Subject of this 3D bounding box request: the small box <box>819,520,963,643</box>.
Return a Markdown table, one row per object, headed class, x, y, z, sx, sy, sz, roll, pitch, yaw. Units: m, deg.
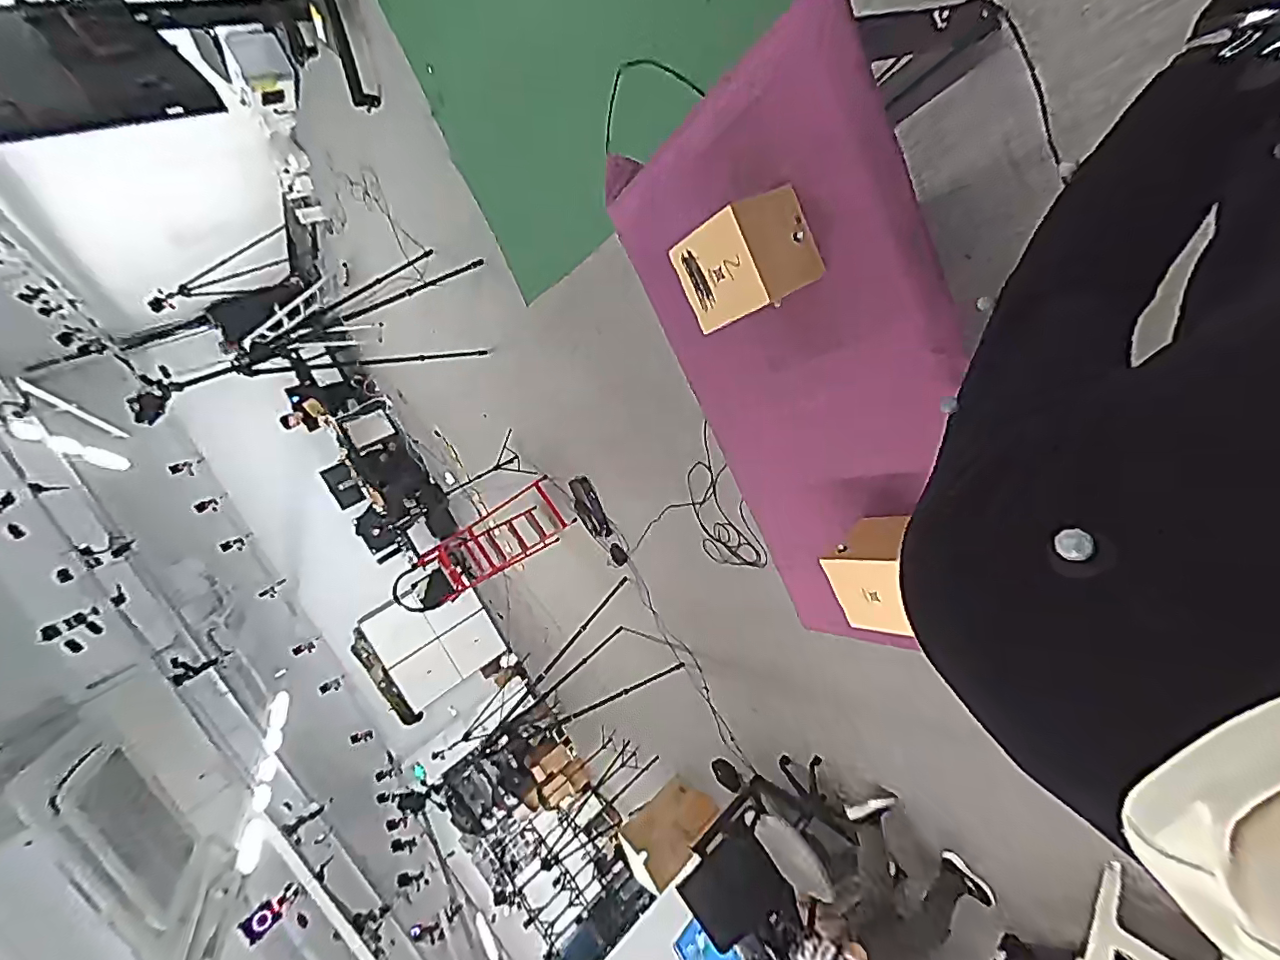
| class | x | y | z | sx | sy | sz | roll | pitch | yaw |
| --- | --- | --- | --- | --- | --- | --- | --- | --- | --- |
| small box | 0.493 | 0.188 | 1.050 | 0.179 | 0.176 | 0.168 | -13 | 107 | 59 |
